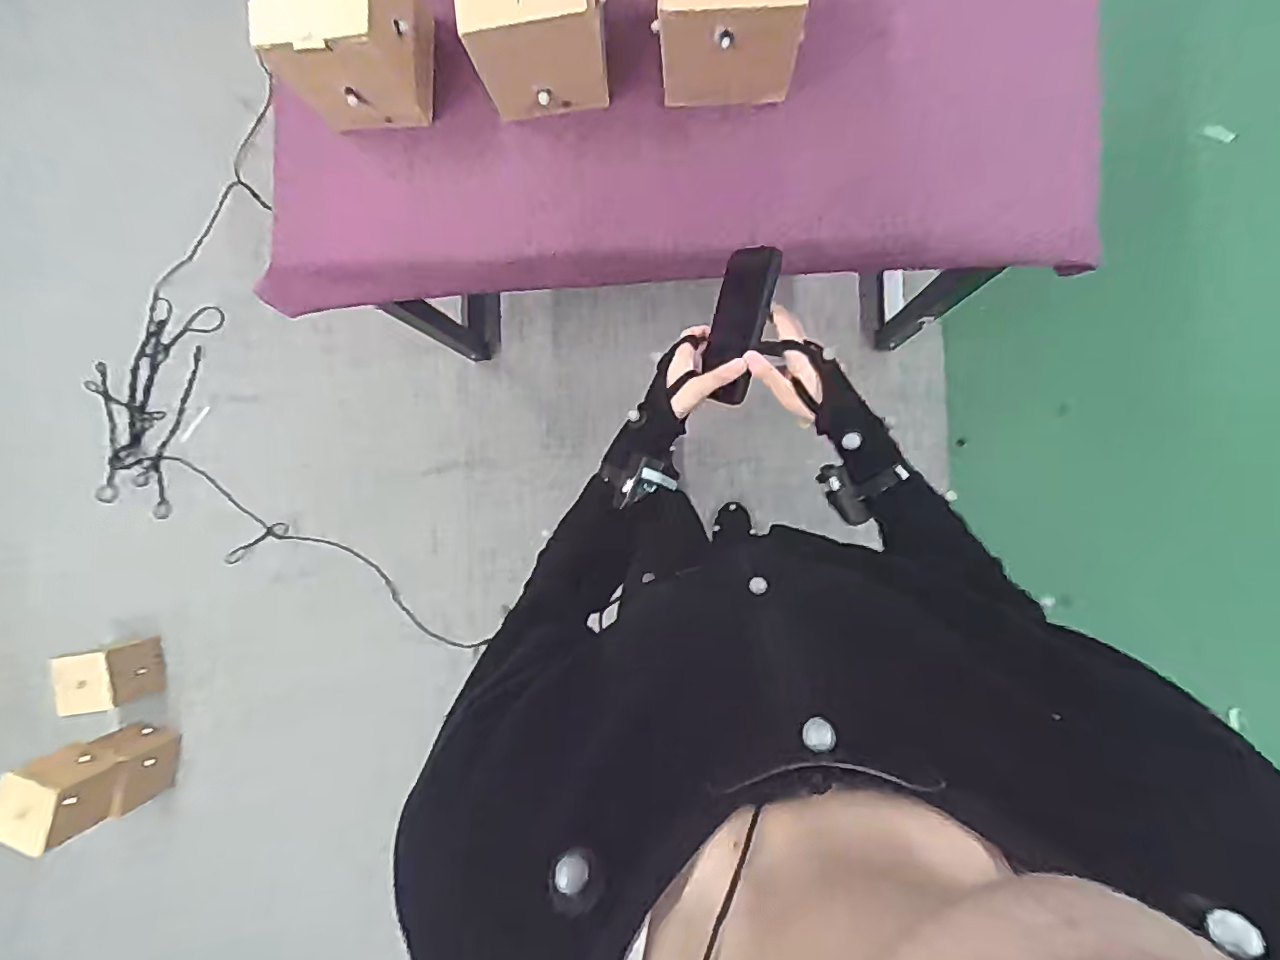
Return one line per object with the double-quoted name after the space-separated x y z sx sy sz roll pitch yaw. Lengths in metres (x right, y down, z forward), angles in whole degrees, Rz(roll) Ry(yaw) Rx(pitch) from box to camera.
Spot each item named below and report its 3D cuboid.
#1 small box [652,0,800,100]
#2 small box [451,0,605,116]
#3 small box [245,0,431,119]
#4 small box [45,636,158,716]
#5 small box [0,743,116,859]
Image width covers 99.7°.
0.114 -0.631 0.703 0.179 0.176 0.168 3 90 6 "small box"
-0.144 -0.640 0.731 0.168 0.176 0.179 -4 89 6 "small box"
-0.411 -0.640 0.759 0.168 0.176 0.179 1 90 6 "small box"
-1.568 0.569 1.588 0.179 0.176 0.168 -9 88 6 "small box"
-1.548 0.834 1.422 0.168 0.176 0.179 15 90 7 "small box"
